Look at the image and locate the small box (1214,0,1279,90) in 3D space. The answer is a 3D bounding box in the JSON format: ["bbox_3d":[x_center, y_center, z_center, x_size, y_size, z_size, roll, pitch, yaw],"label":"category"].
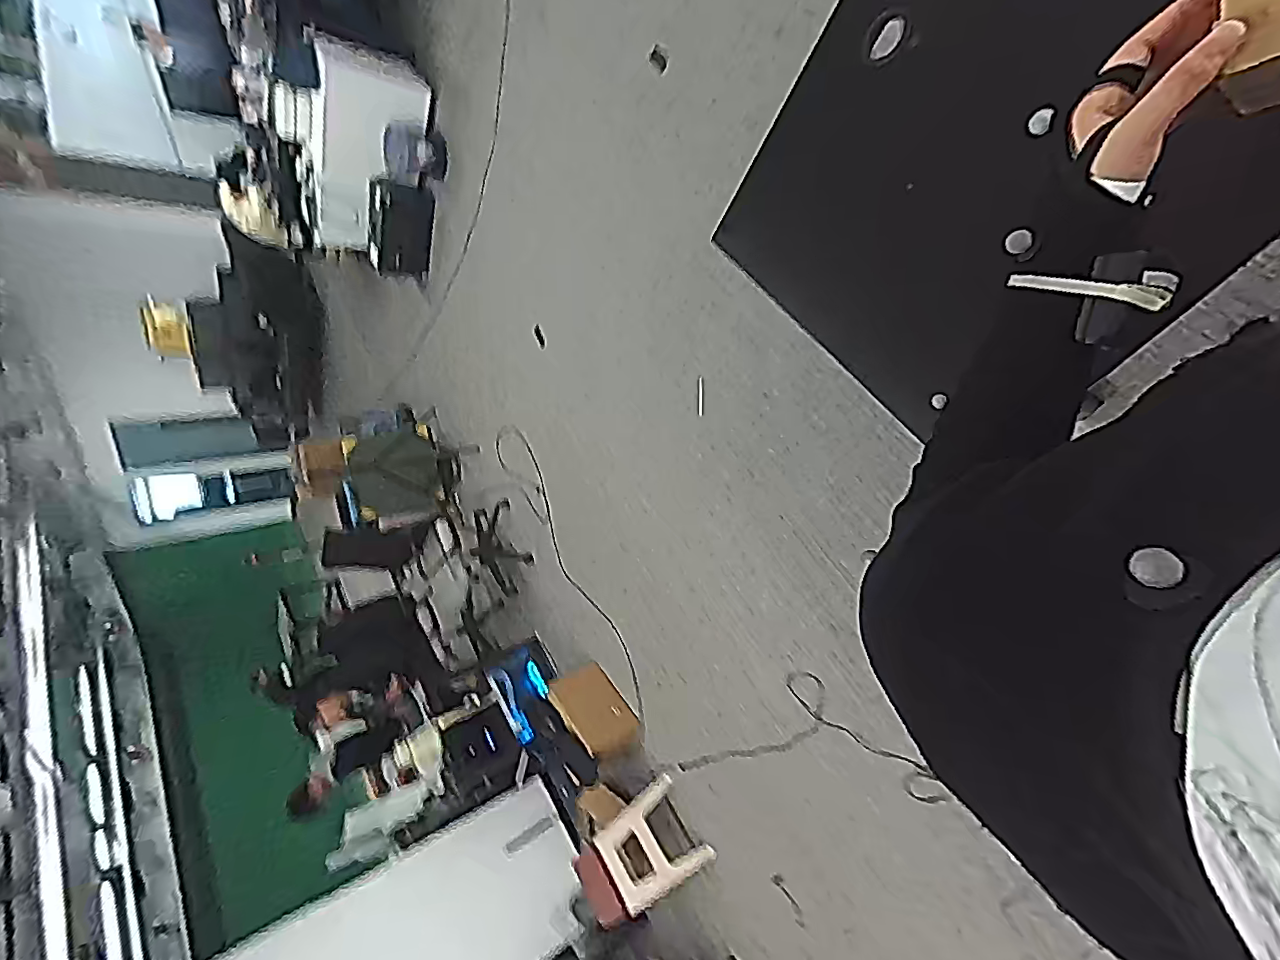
[{"bbox_3d":[0.430,-0.332,0.271,0.179,0.176,0.168,5,111,52],"label":"small box"}]
